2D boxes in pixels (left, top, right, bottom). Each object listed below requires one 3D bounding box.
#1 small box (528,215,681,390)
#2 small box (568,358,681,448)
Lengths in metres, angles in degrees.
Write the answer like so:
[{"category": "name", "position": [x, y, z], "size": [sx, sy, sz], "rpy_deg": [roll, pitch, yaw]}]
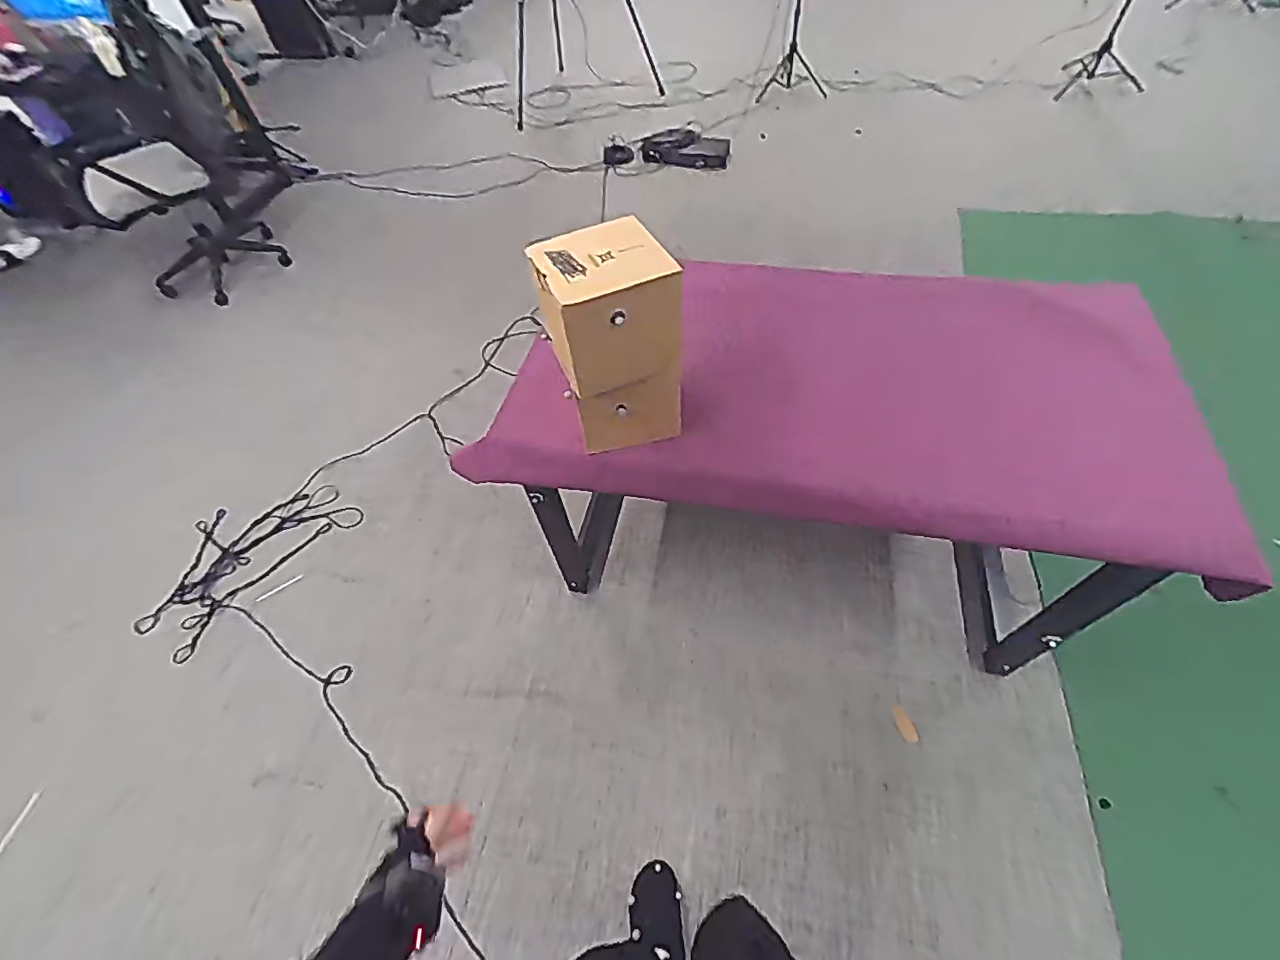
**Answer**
[{"category": "small box", "position": [-0.047, -0.262, 0.814], "size": [0.179, 0.176, 0.168], "rpy_deg": [-21, 55, -11]}, {"category": "small box", "position": [-0.030, -0.177, 0.955], "size": [0.179, 0.176, 0.168], "rpy_deg": [-12, 54, -4]}]
